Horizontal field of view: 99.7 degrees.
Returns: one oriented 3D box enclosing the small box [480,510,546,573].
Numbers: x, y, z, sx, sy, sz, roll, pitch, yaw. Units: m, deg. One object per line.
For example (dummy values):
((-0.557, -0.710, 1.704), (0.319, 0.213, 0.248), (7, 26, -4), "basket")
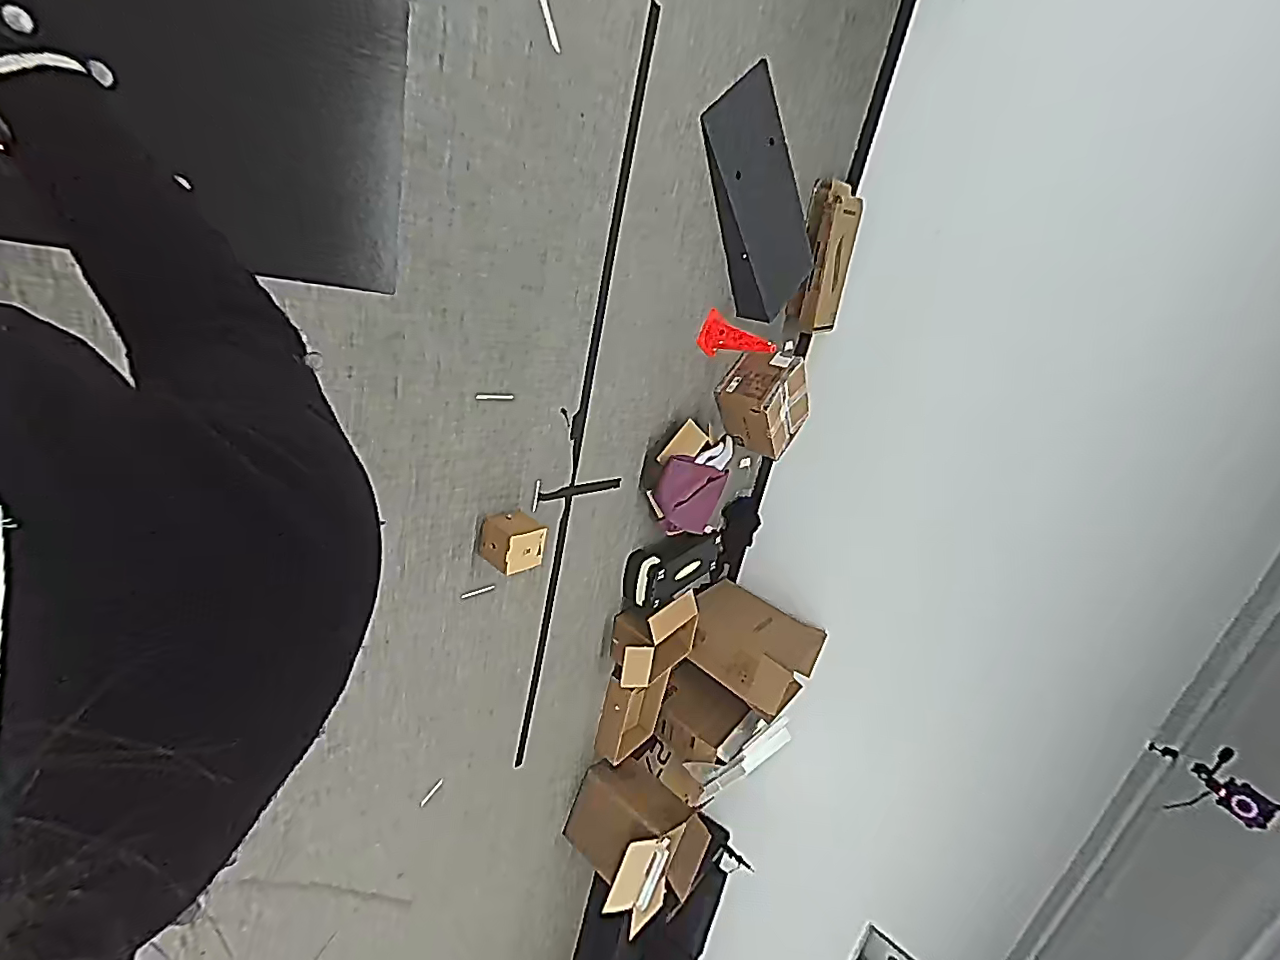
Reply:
((-0.490, 0.231, 2.070), (0.179, 0.176, 0.168), (-10, 120, -50), "small box")
